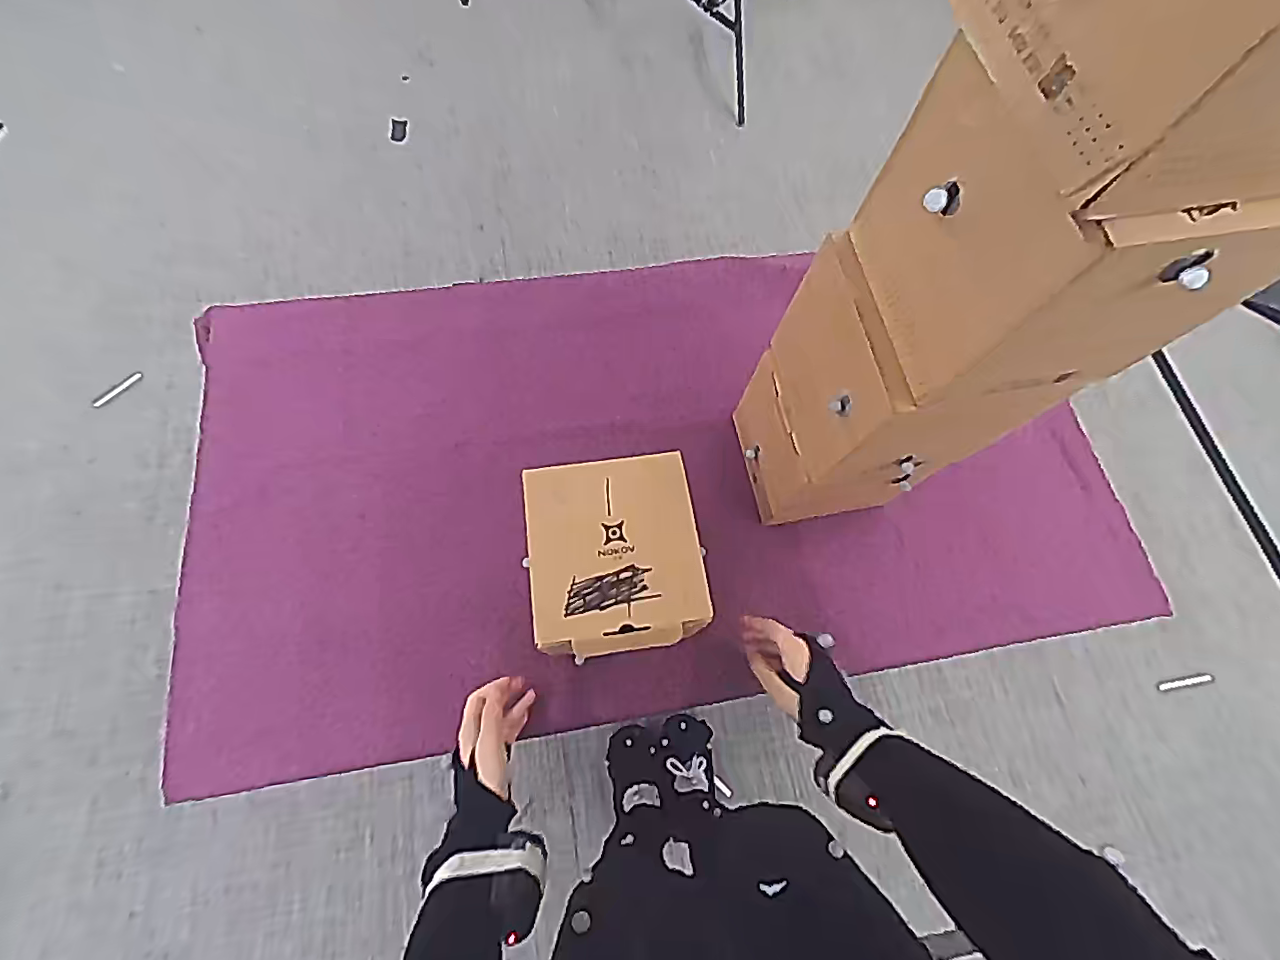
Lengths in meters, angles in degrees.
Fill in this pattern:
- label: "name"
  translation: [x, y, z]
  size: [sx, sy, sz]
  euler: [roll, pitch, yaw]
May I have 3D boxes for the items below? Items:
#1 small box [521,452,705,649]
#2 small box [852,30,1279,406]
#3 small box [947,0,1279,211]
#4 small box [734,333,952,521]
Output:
- label: "small box"
  translation: [-0.033, 0.088, 0.600]
  size: [0.168, 0.176, 0.179]
  euler: [-7, 69, -6]
- label: "small box"
  translation: [0.272, -0.173, 0.366]
  size: [0.168, 0.176, 0.179]
  euler: [-9, 71, -7]
- label: "small box"
  translation: [0.273, -0.239, 0.217]
  size: [0.179, 0.176, 0.168]
  euler: [-10, 71, -7]
- label: "small box"
  translation: [0.234, -0.058, 0.671]
  size: [0.179, 0.176, 0.168]
  euler: [-10, 70, -6]
